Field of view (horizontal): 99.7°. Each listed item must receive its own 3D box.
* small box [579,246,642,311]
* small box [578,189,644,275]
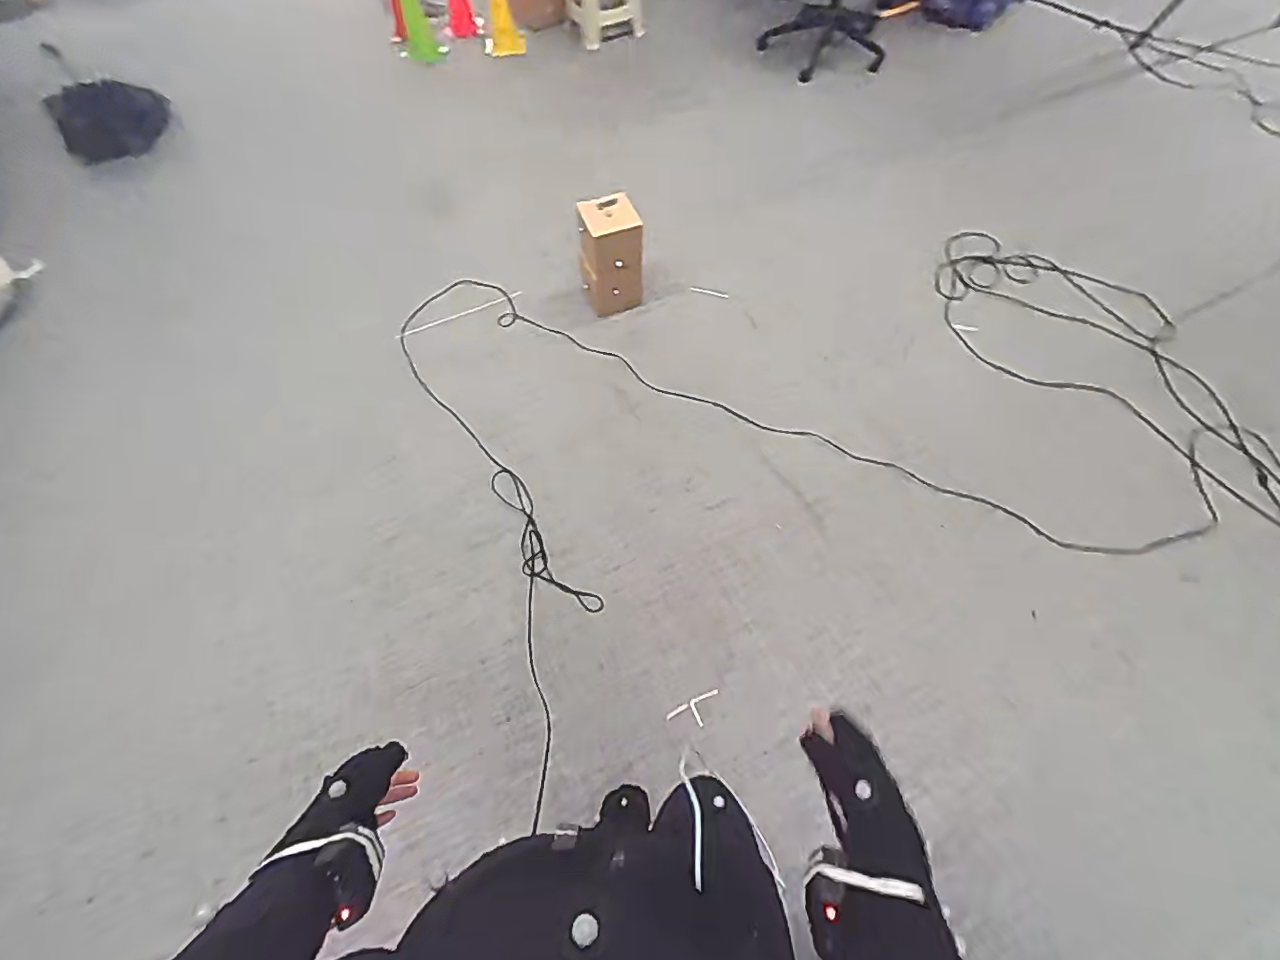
[{"bbox_3d":[-0.099,-0.723,1.900,0.179,0.176,0.168,-20,64,-9],"label":"small box"},{"bbox_3d":[-0.095,-0.802,1.756,0.168,0.176,0.179,-19,64,-9],"label":"small box"}]
